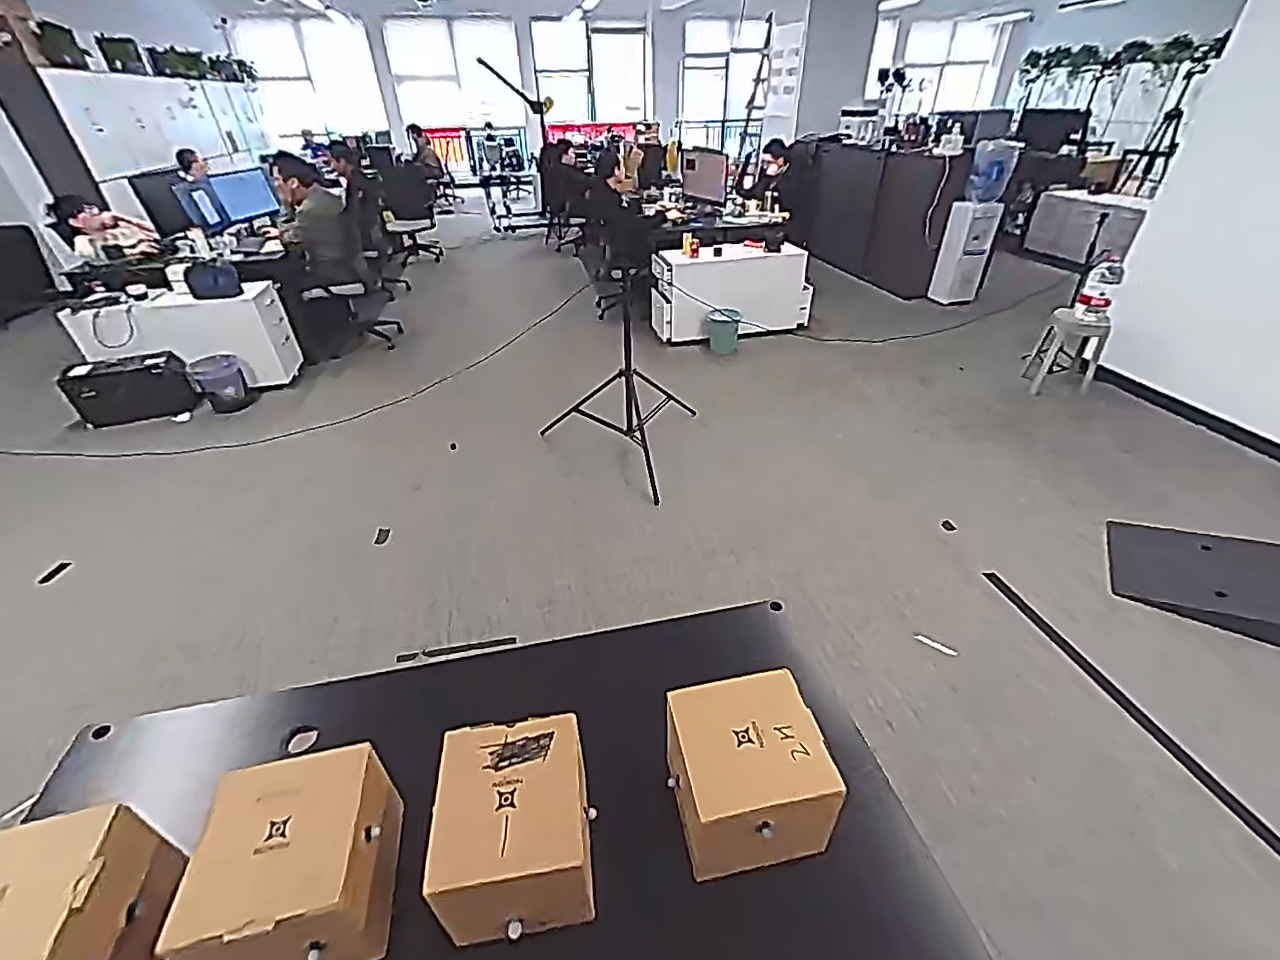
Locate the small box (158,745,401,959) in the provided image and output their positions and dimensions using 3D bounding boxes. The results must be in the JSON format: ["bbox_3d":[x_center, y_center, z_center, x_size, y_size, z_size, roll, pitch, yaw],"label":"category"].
[{"bbox_3d":[-0.395,0.454,0.636,0.168,0.176,0.179,-8,35,-11],"label":"small box"}]

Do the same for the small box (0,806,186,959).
[{"bbox_3d":[-0.648,0.494,0.583,0.179,0.176,0.168,-8,35,-12],"label":"small box"}]

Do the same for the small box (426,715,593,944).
[{"bbox_3d":[-0.148,0.425,0.667,0.168,0.176,0.179,-6,36,-7],"label":"small box"}]

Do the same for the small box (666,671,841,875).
[{"bbox_3d":[0.136,0.386,0.714,0.179,0.176,0.168,-7,36,-8],"label":"small box"}]
